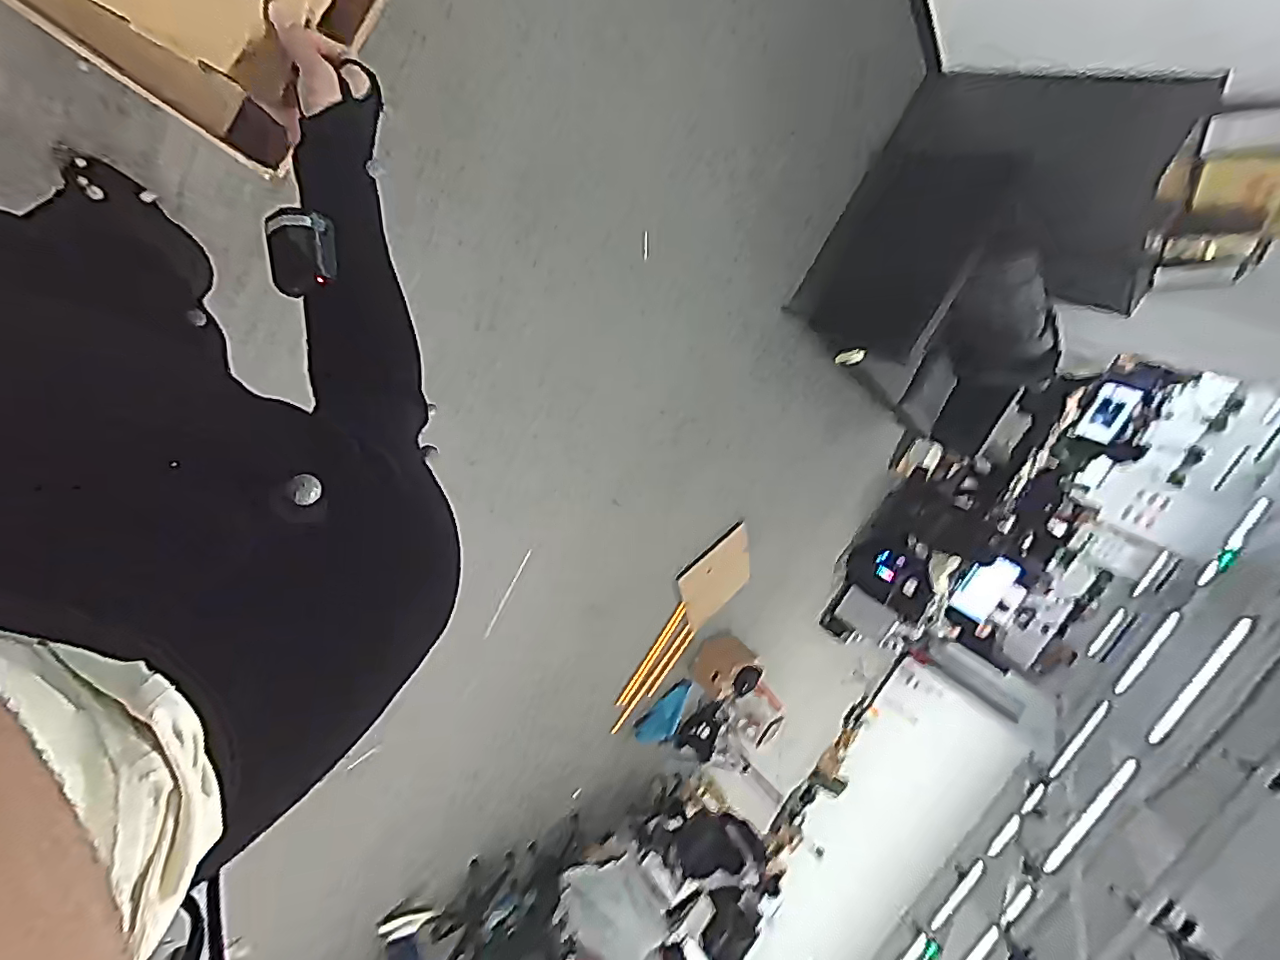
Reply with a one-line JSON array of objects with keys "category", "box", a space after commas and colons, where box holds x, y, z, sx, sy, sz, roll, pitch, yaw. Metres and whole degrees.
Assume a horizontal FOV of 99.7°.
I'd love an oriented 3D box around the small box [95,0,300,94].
[{"category": "small box", "box": [-0.391, -0.484, 0.457, 0.168, 0.176, 0.179, 9, 124, -48]}]
